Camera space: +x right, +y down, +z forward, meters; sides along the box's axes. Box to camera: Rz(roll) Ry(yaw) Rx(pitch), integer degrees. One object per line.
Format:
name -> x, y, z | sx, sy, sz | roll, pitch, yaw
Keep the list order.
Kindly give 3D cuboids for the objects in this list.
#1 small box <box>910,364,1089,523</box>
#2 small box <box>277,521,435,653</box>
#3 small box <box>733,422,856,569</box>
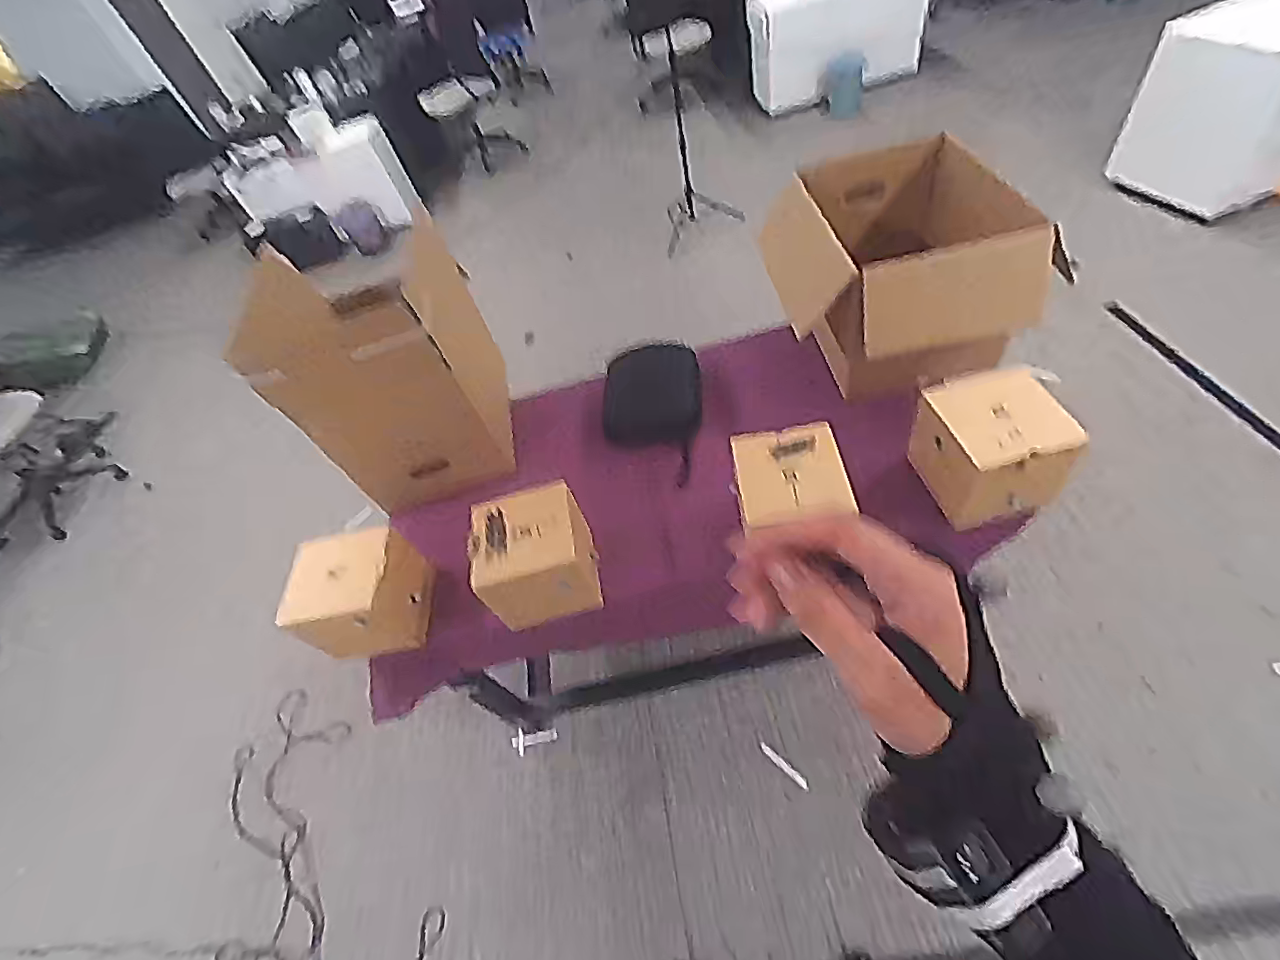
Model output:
small box -> 0.574, -0.057, 0.897 | 0.168, 0.176, 0.179 | -15, 51, 5
small box -> -0.508, 0.202, 0.995 | 0.179, 0.176, 0.168 | -12, 51, 5
small box -> 0.254, 0.030, 0.920 | 0.168, 0.176, 0.179 | -9, 53, 9
